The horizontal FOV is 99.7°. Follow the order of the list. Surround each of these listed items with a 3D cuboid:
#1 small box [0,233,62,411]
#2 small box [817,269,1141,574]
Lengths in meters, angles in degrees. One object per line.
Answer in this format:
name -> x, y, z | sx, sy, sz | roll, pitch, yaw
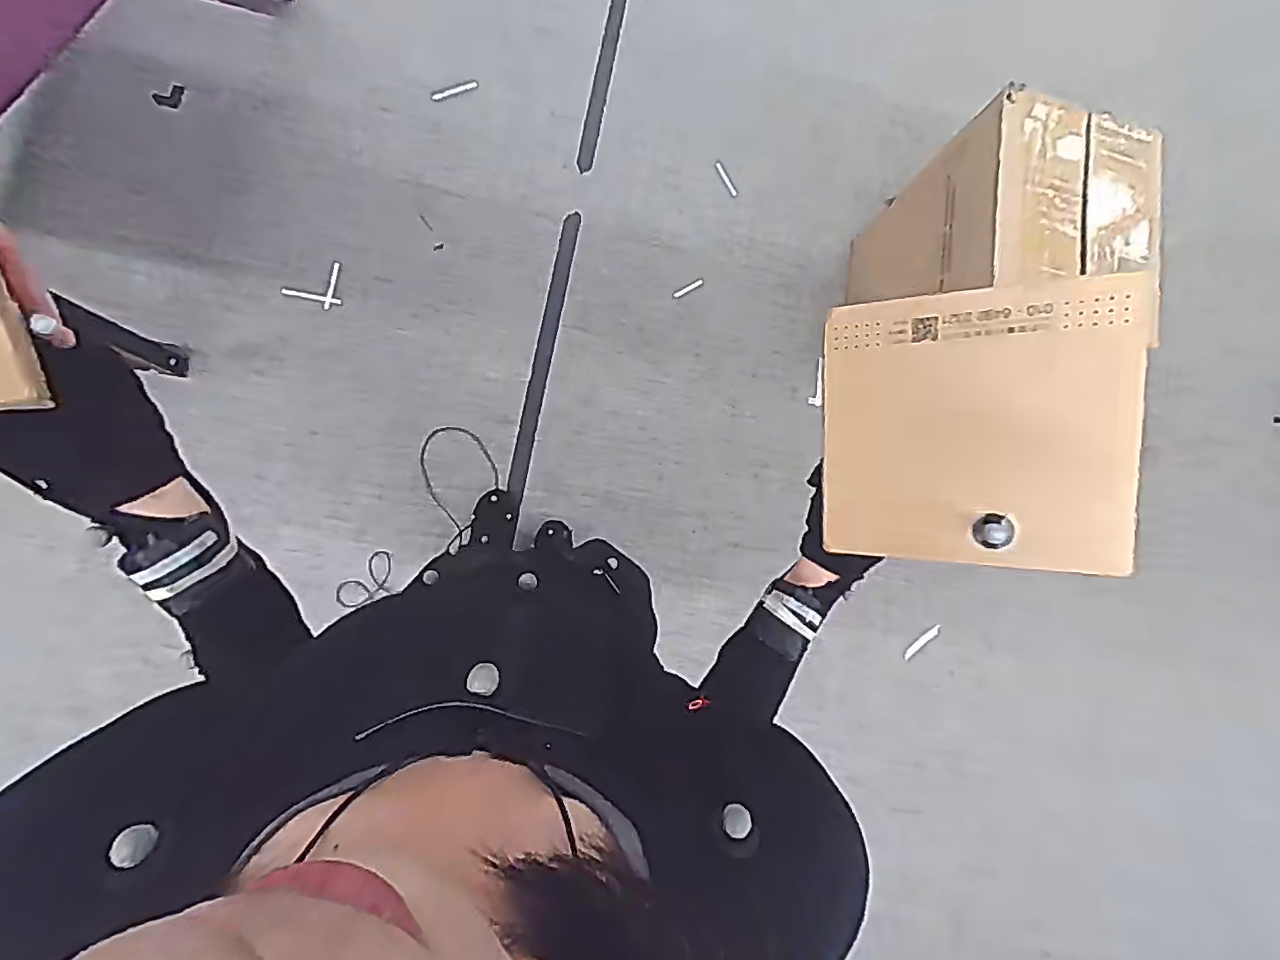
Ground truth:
small box -> -0.375, -0.104, 0.211 | 0.168, 0.179, 0.176 | -22, 108, -41
small box -> 0.234, -0.046, 0.394 | 0.168, 0.179, 0.176 | 3, 98, 31
